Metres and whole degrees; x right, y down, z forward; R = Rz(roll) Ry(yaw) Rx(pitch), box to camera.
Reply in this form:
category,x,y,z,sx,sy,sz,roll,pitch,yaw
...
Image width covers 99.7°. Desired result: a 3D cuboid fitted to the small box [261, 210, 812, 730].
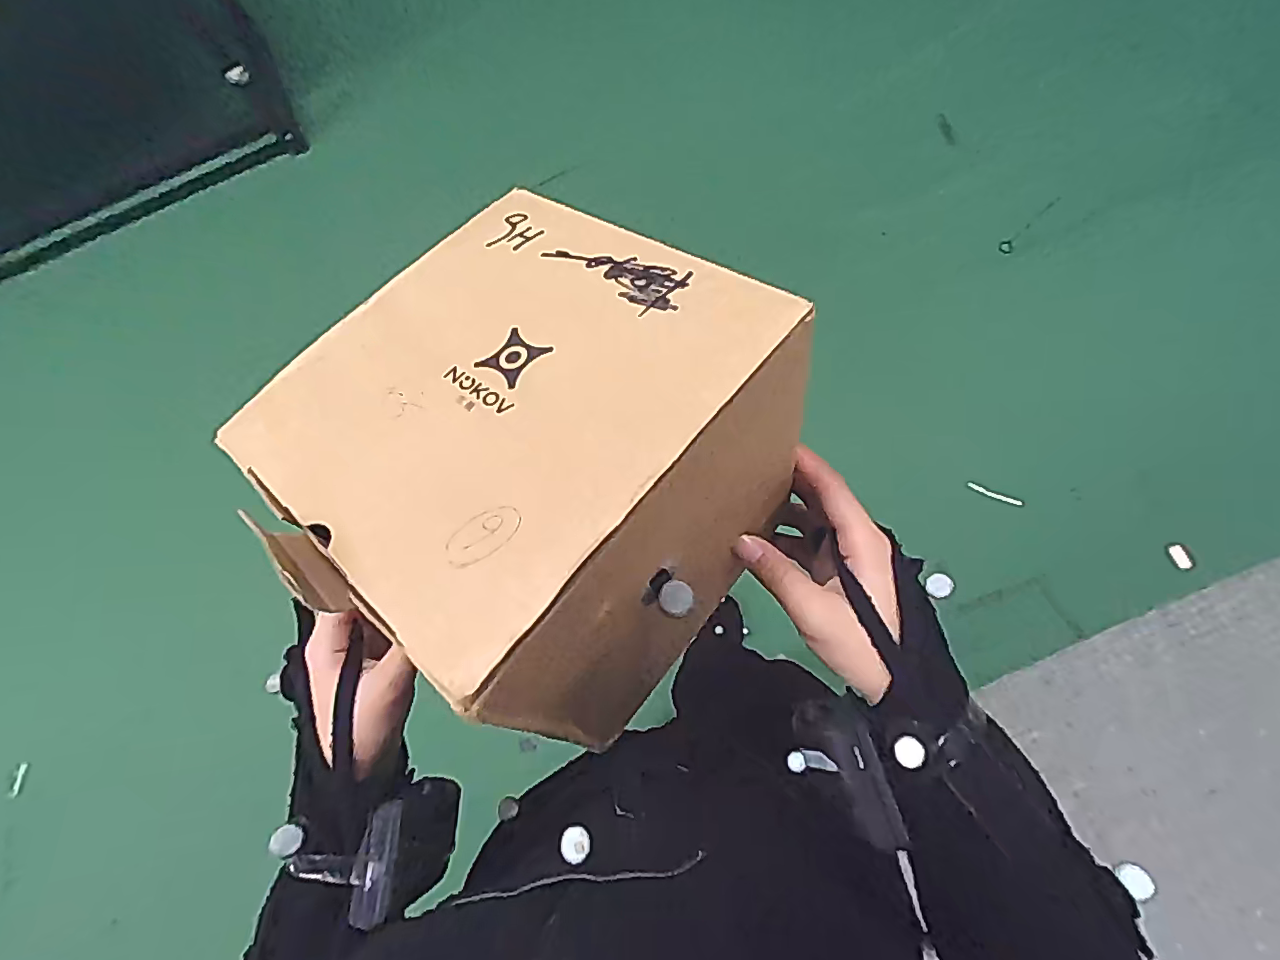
category,x,y,z,sx,sy,sz,roll,pitch,yaw
small box,-0.032,0.005,0.283,0.168,0.176,0.179,34,72,25
